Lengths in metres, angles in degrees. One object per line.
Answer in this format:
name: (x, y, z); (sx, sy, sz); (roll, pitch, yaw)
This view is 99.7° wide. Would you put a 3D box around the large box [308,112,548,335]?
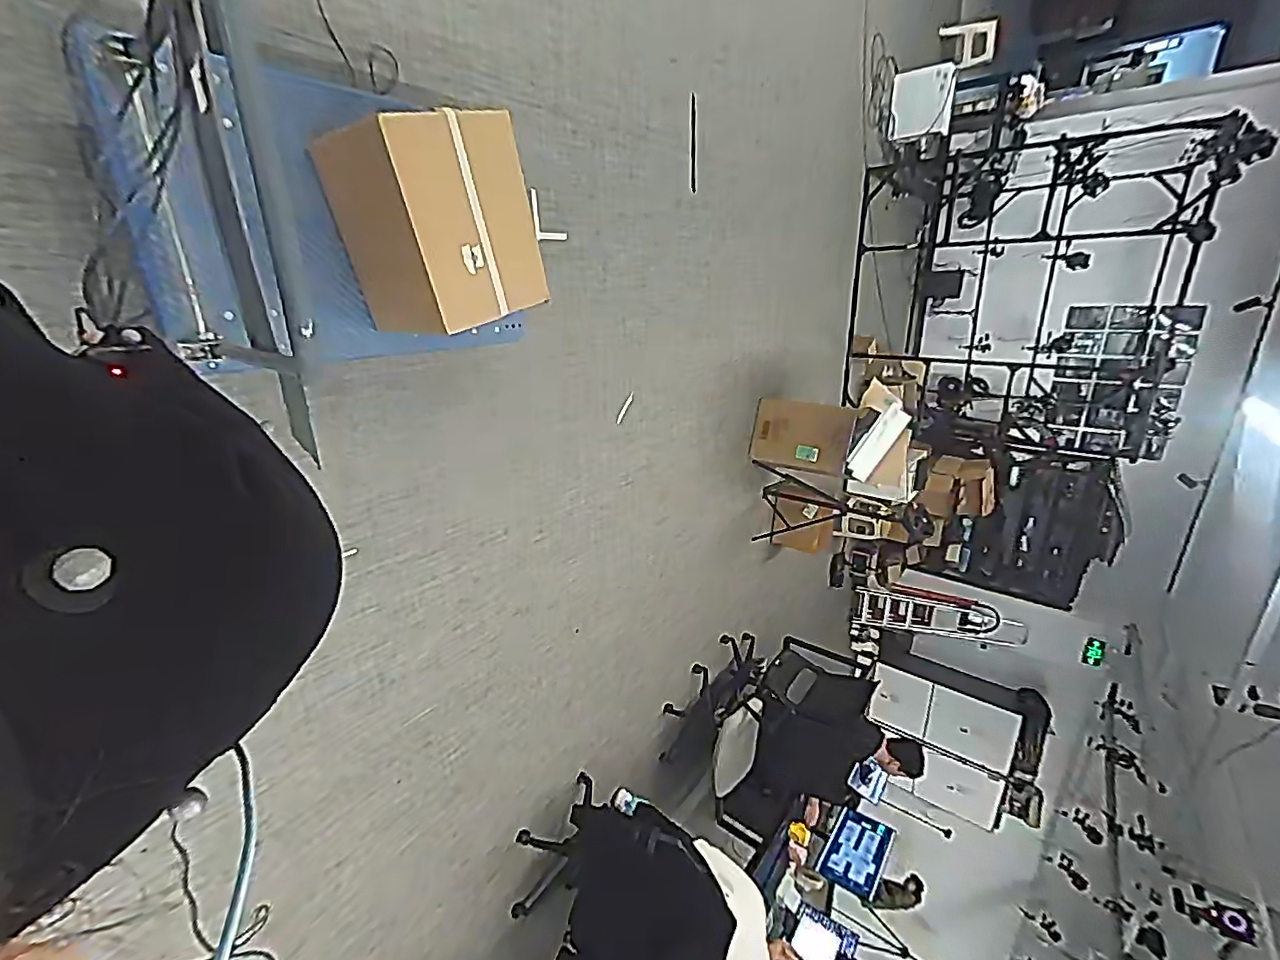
large box: (-0.468, -0.579, 1.244); (0.320, 0.320, 0.408); (-37, 129, -40)
